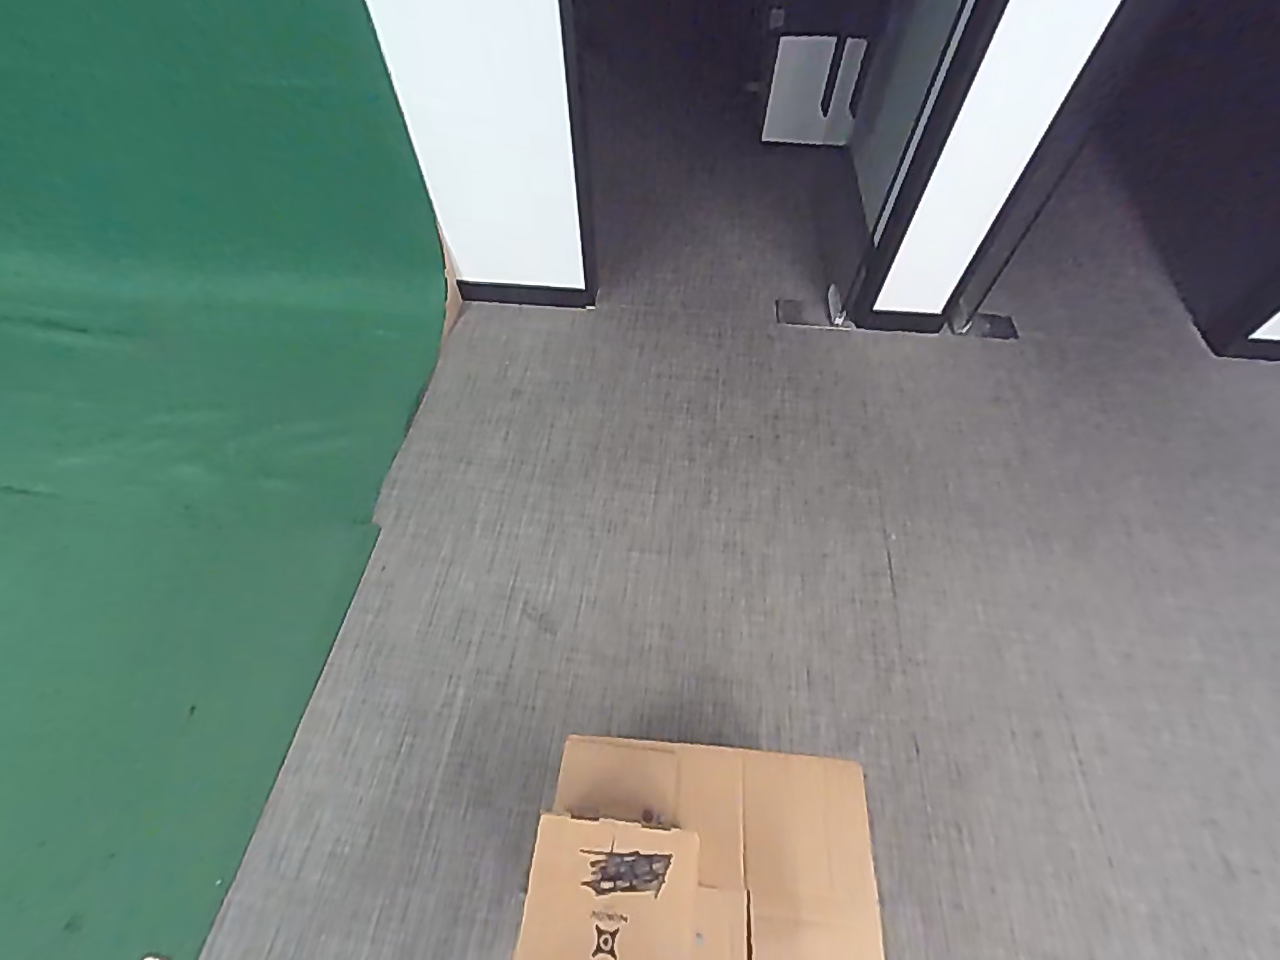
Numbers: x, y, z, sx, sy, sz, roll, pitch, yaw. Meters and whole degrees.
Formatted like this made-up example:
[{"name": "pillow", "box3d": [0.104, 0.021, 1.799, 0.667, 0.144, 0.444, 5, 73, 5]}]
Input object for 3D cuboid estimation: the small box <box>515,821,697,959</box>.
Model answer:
[{"name": "small box", "box3d": [-0.035, 0.476, 0.578, 0.168, 0.176, 0.179, 6, 59, 3]}]
